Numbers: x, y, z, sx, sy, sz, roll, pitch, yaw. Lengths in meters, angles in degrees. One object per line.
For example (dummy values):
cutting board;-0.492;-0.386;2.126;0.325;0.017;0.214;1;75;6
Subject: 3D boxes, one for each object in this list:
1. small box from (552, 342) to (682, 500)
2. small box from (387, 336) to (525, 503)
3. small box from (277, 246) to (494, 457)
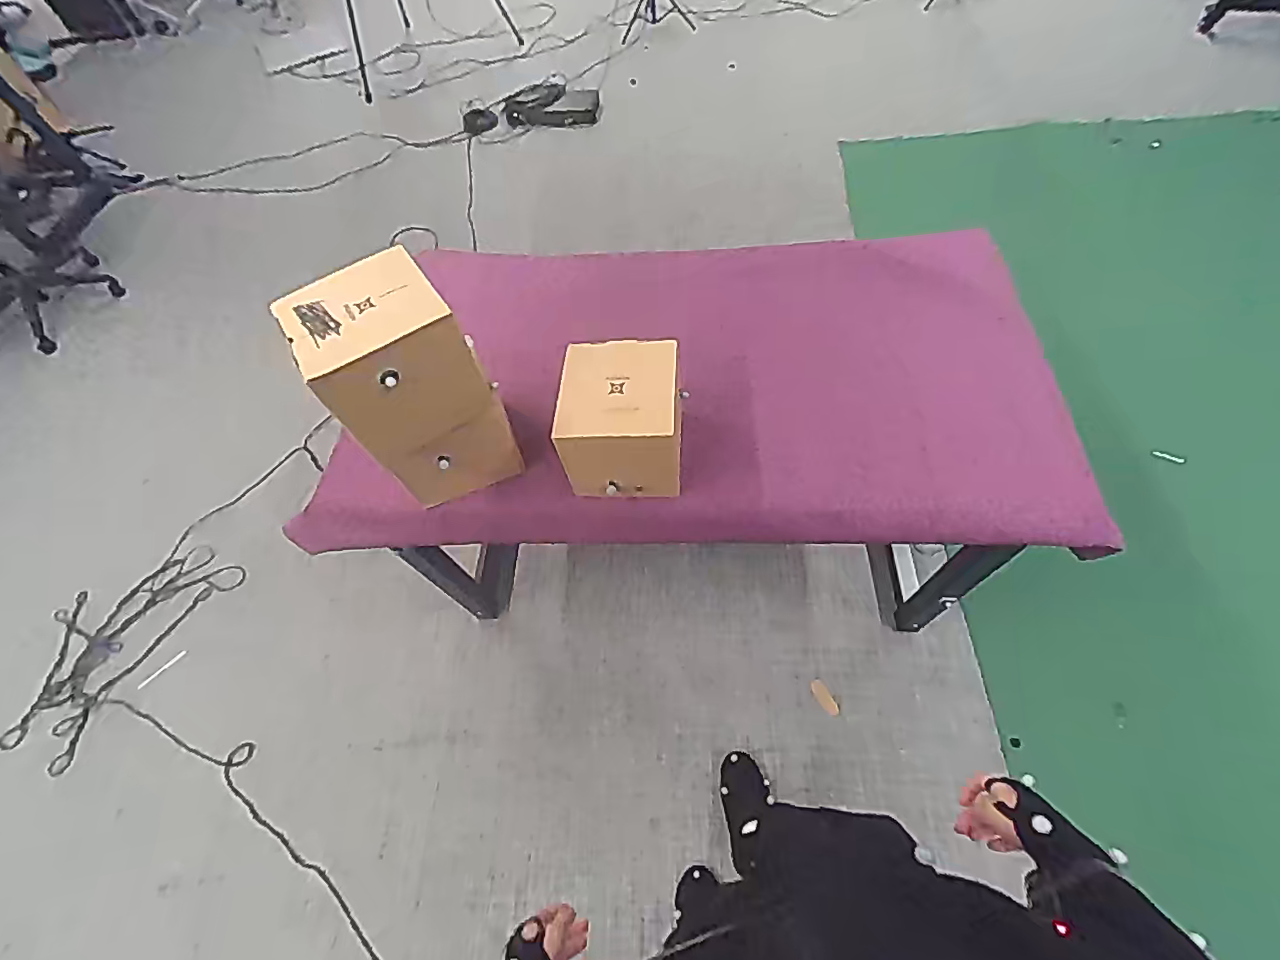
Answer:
small box;-0.023;-0.087;0.822;0.168;0.176;0.179;0;59;8
small box;-0.302;-0.089;0.853;0.179;0.176;0.168;-22;59;-7
small box;-0.320;-0.161;0.704;0.179;0.176;0.168;-31;61;-14
